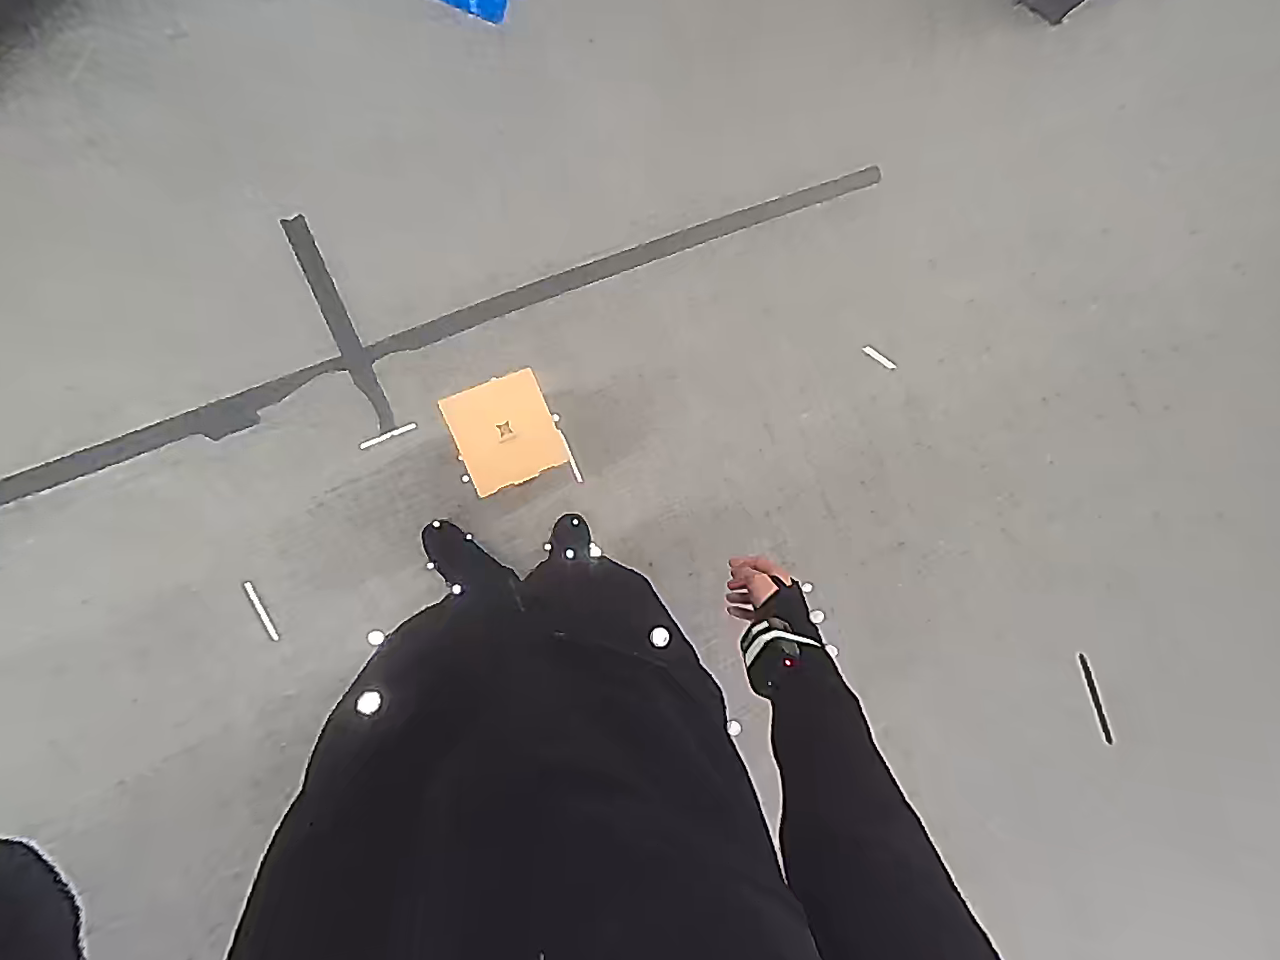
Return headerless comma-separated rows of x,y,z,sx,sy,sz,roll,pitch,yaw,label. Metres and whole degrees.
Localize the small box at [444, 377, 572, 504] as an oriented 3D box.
-0.243,-0.068,0.988,0.168,0.176,0.179,-24,98,-14,small box
